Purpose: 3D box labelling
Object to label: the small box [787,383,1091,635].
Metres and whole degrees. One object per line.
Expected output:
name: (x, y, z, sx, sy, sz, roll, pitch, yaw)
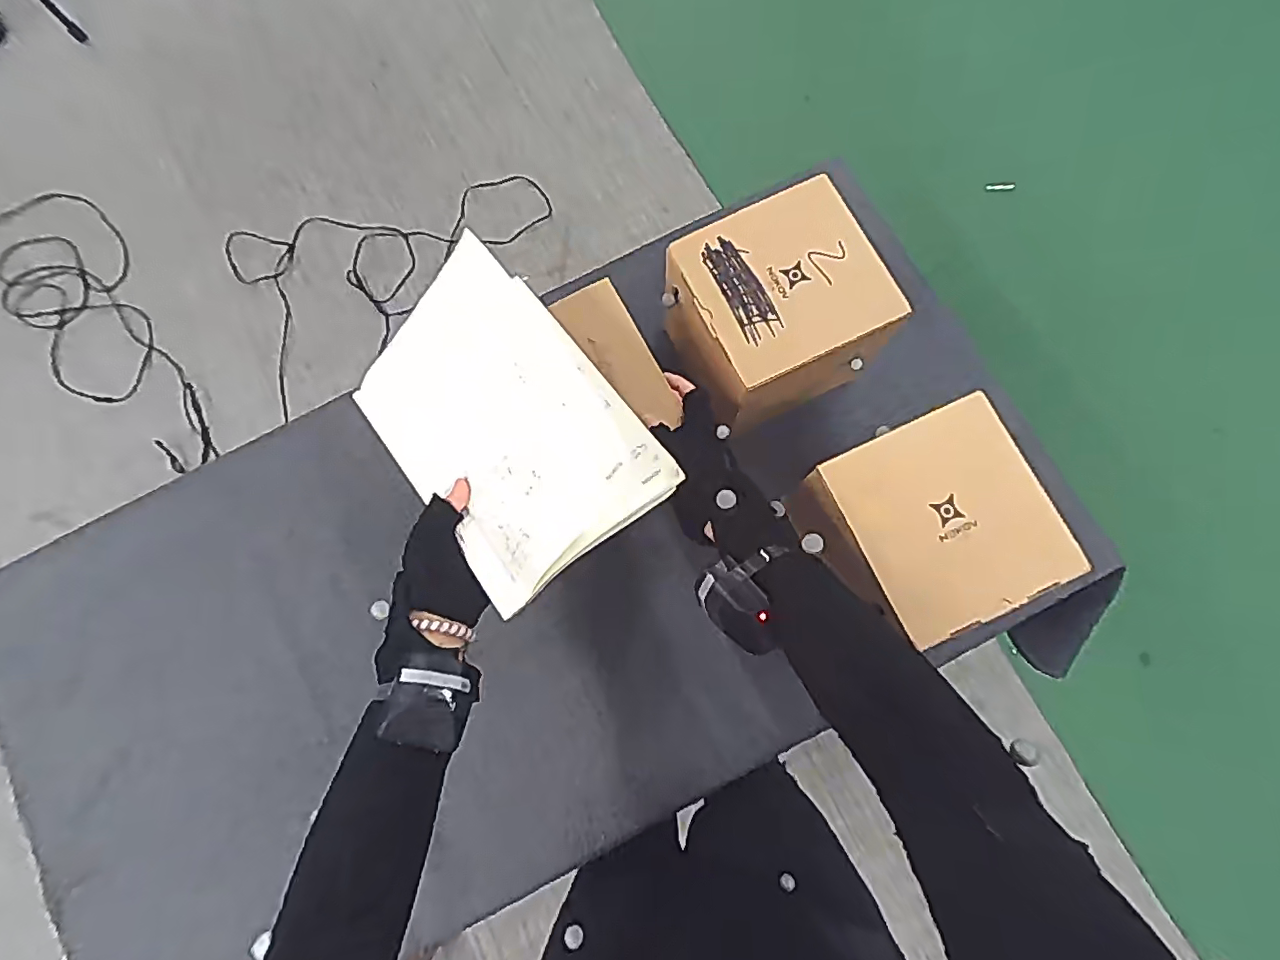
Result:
small box: (0.268, 0.036, 0.536, 0.168, 0.176, 0.179, -24, 80, -2)
